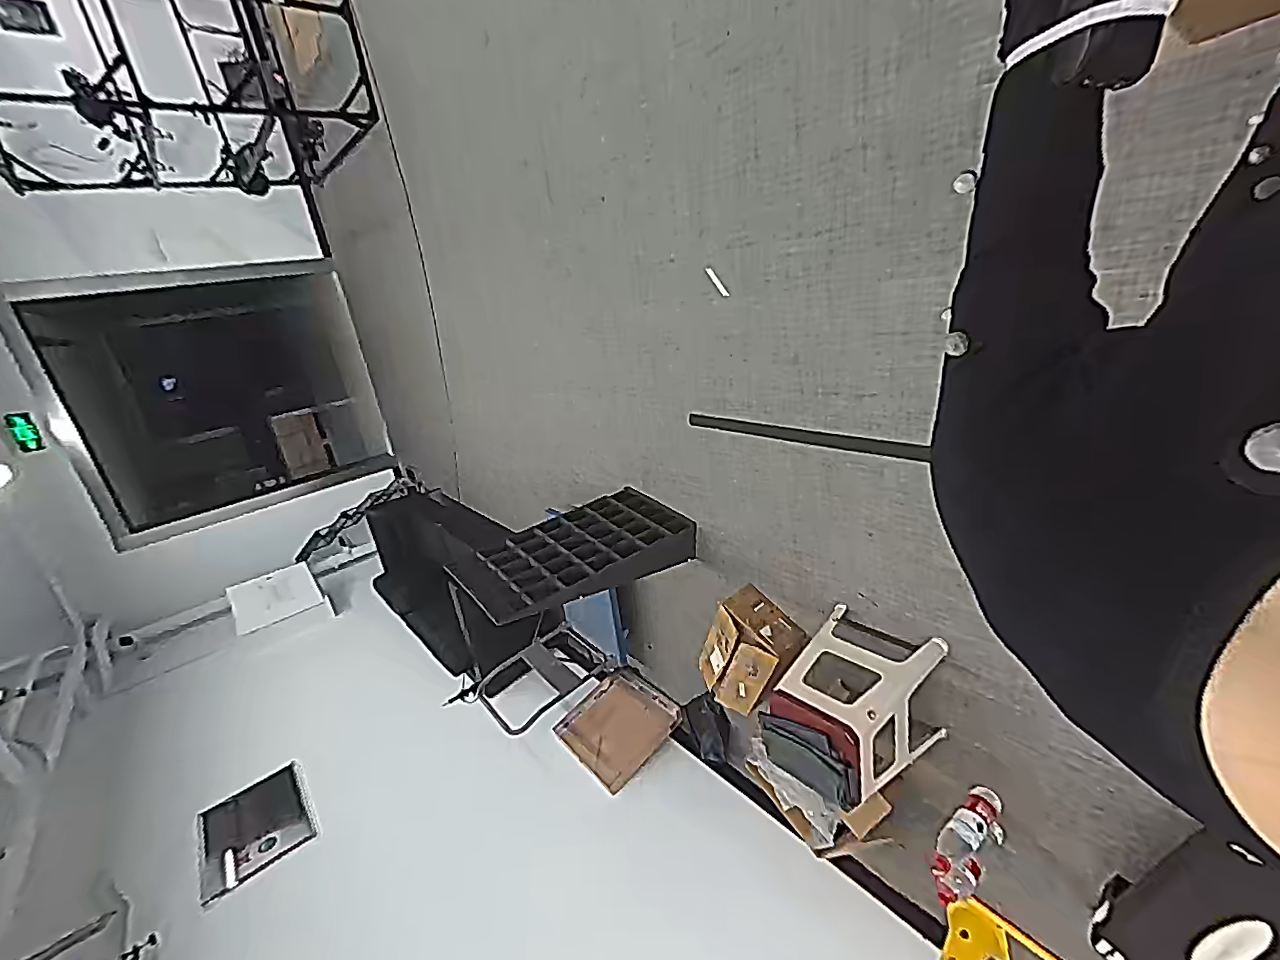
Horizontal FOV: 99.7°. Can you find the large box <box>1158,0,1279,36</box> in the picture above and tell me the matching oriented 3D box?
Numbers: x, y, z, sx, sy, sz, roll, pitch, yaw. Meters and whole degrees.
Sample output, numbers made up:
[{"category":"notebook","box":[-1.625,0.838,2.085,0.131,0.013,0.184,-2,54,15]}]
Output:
[{"category":"large box","box":[0.529,-0.517,0.261,0.408,0.320,0.320,7,116,50]}]
